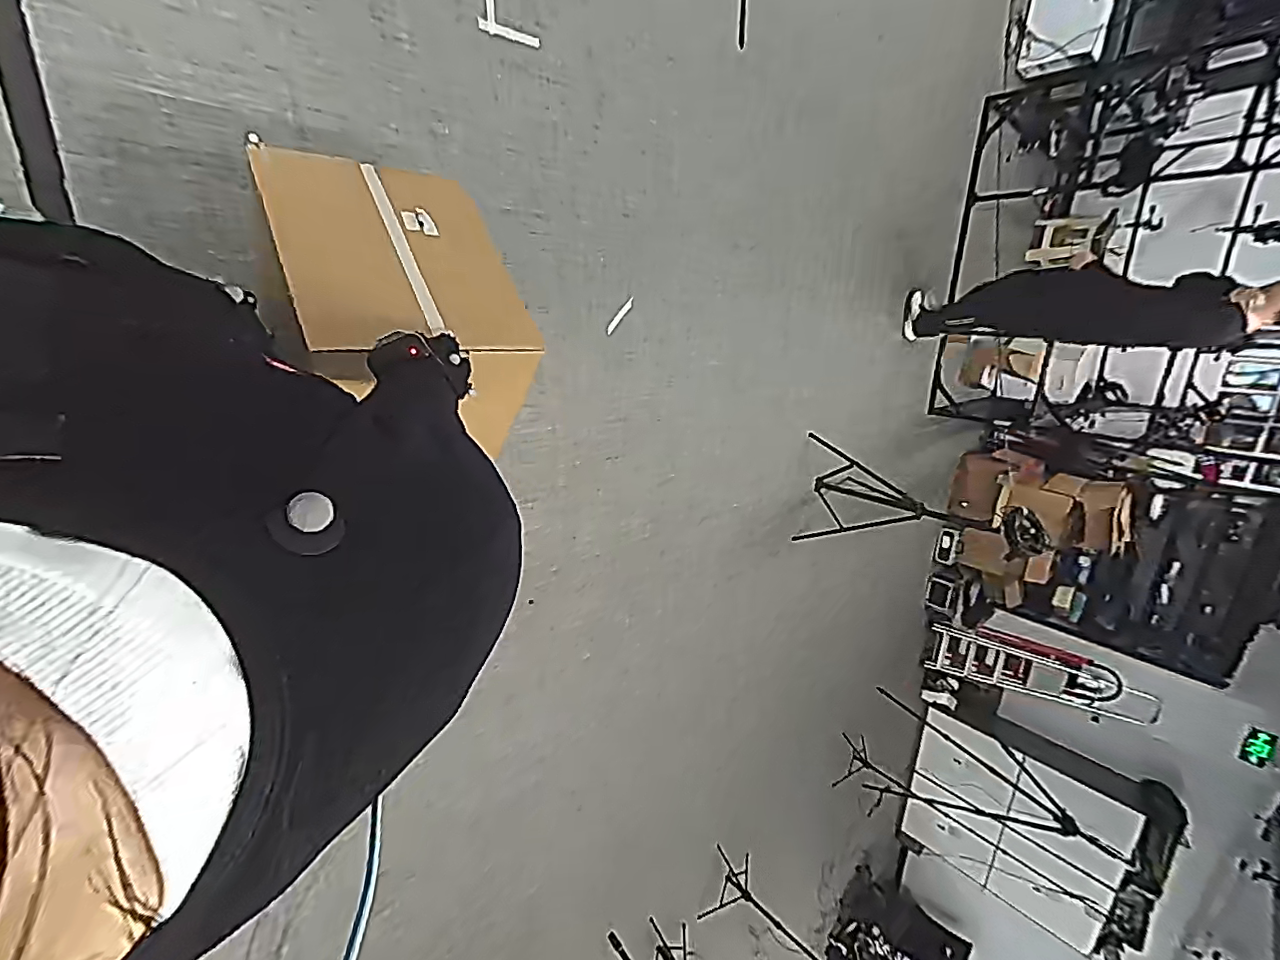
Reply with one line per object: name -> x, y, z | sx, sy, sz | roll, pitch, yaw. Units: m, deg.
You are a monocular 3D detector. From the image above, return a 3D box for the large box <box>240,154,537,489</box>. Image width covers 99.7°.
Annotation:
large box -> -0.431, -0.249, 0.902 | 0.320, 0.408, 0.320 | -11, 152, -40
